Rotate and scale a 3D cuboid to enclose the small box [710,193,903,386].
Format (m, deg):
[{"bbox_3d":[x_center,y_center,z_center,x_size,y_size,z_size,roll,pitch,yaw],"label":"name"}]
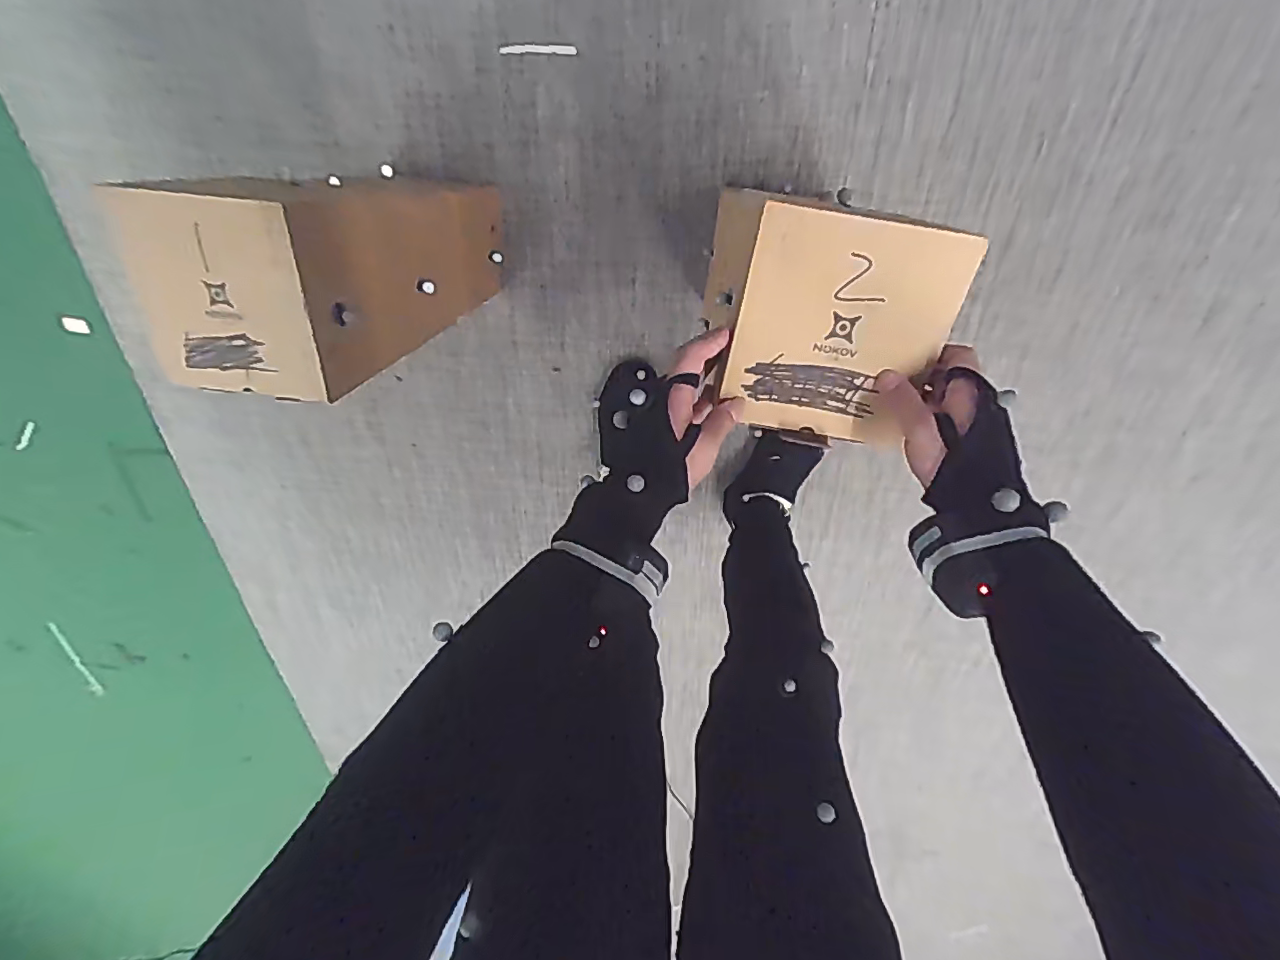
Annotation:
[{"bbox_3d":[0.178,-0.234,0.645,0.168,0.176,0.179,9,122,1],"label":"small box"}]

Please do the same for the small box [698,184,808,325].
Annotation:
[{"bbox_3d":[0.188,-0.314,0.784,0.168,0.176,0.179,15,123,1],"label":"small box"}]

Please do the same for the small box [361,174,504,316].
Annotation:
[{"bbox_3d":[-0.319,-0.363,0.823,0.179,0.176,0.168,8,122,2],"label":"small box"}]

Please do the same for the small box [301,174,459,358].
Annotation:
[{"bbox_3d":[-0.343,-0.276,0.687,0.168,0.176,0.179,8,123,3],"label":"small box"}]

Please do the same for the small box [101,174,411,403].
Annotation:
[{"bbox_3d":[-0.351,-0.198,0.542,0.168,0.176,0.179,7,122,3],"label":"small box"}]
